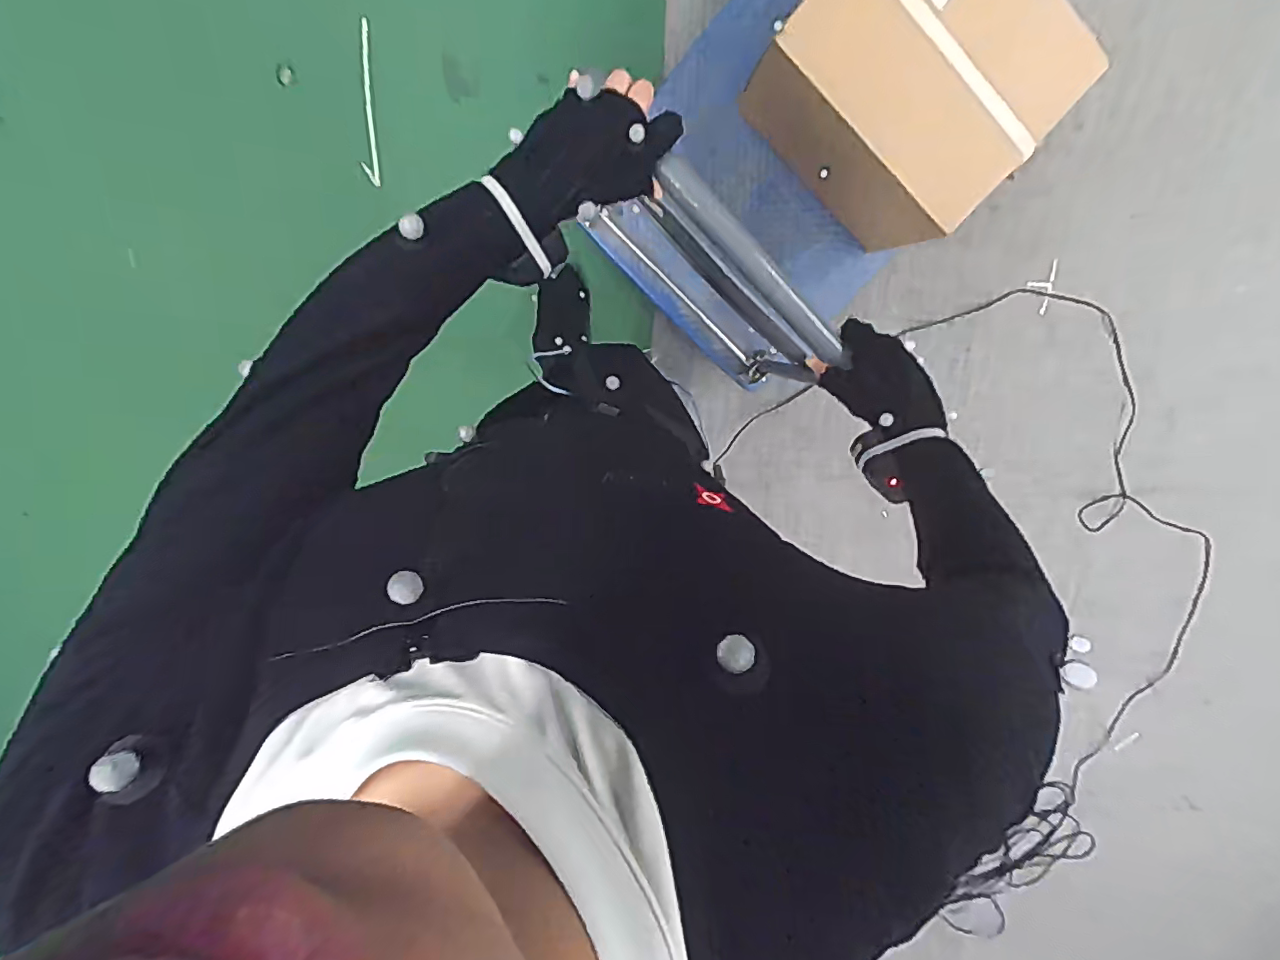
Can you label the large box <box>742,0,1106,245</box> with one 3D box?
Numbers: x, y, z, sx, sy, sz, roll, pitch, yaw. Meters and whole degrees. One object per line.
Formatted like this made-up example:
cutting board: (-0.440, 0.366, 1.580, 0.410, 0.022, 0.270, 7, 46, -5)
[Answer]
large box: (0.445, -0.678, 0.938, 0.408, 0.320, 0.320, 39, 103, -11)
